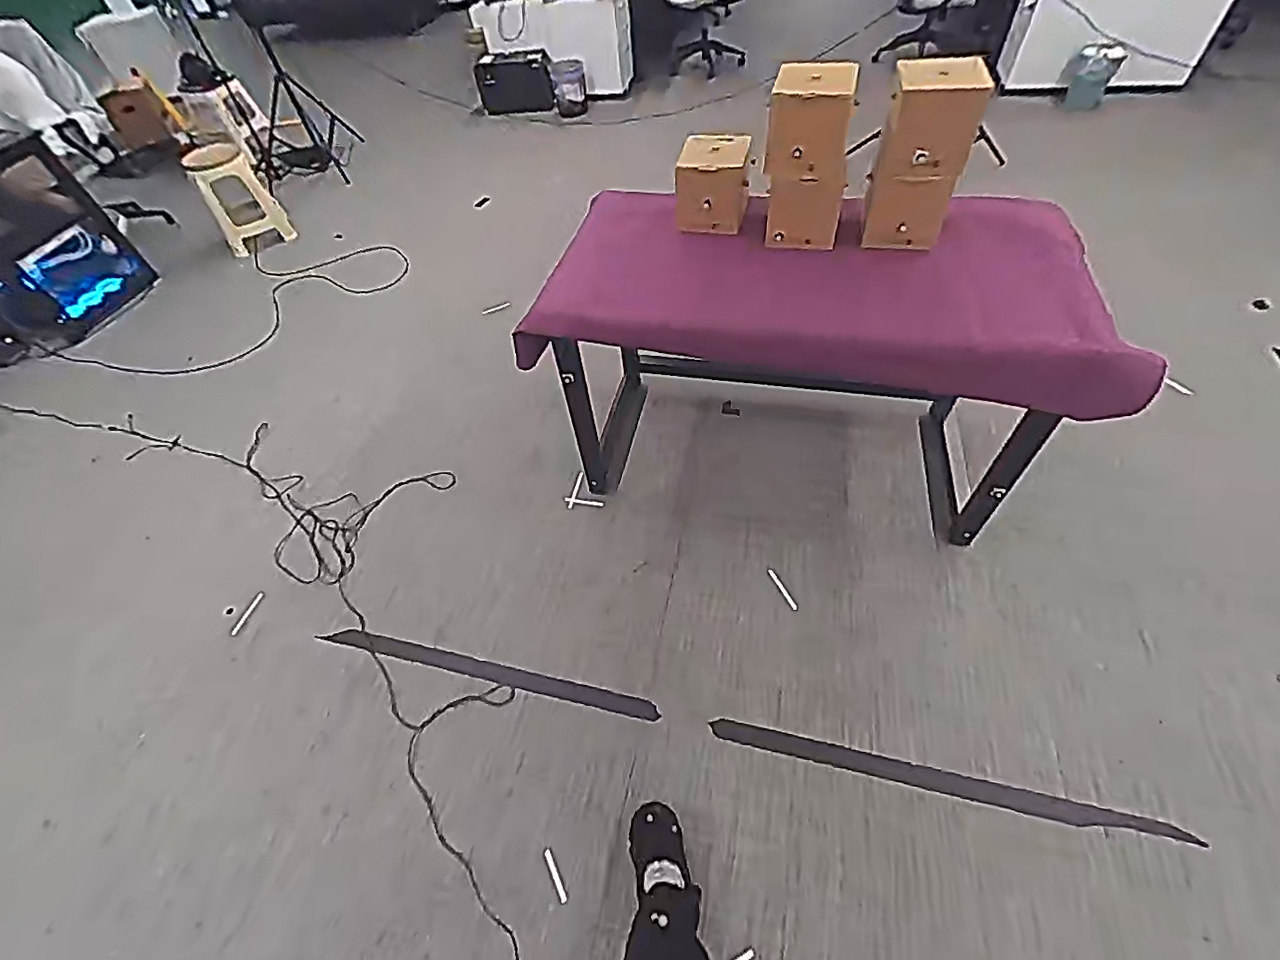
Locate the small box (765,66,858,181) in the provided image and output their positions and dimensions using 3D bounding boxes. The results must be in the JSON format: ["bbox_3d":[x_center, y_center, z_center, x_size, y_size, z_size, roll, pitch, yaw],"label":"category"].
[{"bbox_3d":[0.379,-0.795,1.209,0.168,0.176,0.179,10,55,13],"label":"small box"}]

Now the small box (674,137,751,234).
[{"bbox_3d":[0.190,-0.764,1.408,0.168,0.176,0.179,10,56,13],"label":"small box"}]

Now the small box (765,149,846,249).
[{"bbox_3d":[0.405,-0.690,1.331,0.168,0.176,0.179,8,54,12],"label":"small box"}]

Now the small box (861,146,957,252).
[{"bbox_3d":[0.633,-0.674,1.295,0.168,0.176,0.179,8,54,13],"label":"small box"}]

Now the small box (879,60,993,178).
[{"bbox_3d":[0.626,-0.776,1.168,0.168,0.176,0.179,6,54,11],"label":"small box"}]
